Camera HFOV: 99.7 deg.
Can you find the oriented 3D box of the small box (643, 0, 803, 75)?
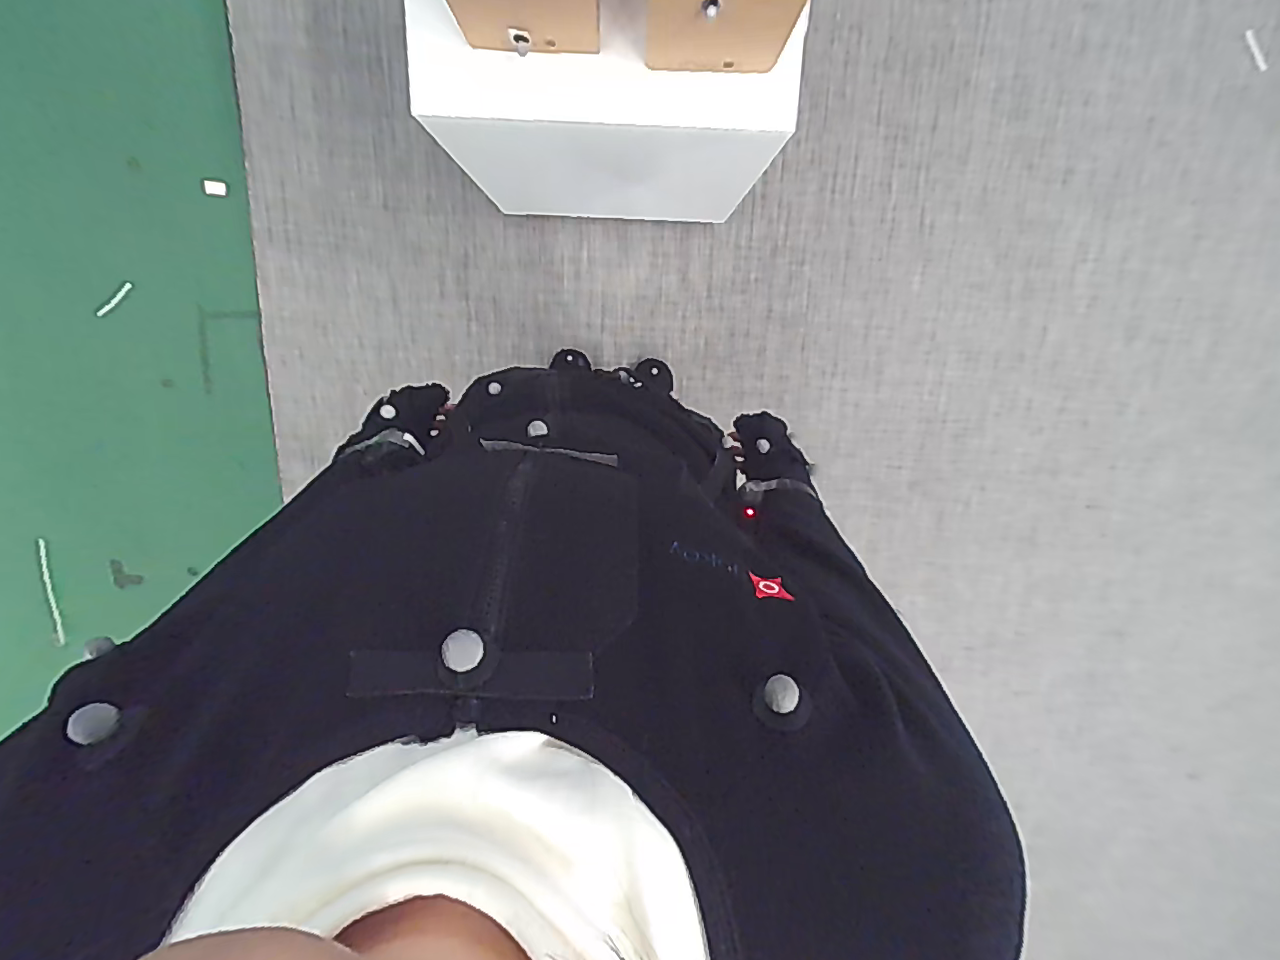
[{"bbox_3d":[0.091,-0.598,0.604,0.168,0.176,0.179,2,103,-1],"label":"small box"}]

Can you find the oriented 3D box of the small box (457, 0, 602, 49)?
[{"bbox_3d":[-0.128,-0.612,0.583,0.168,0.176,0.179,0,105,0],"label":"small box"}]
